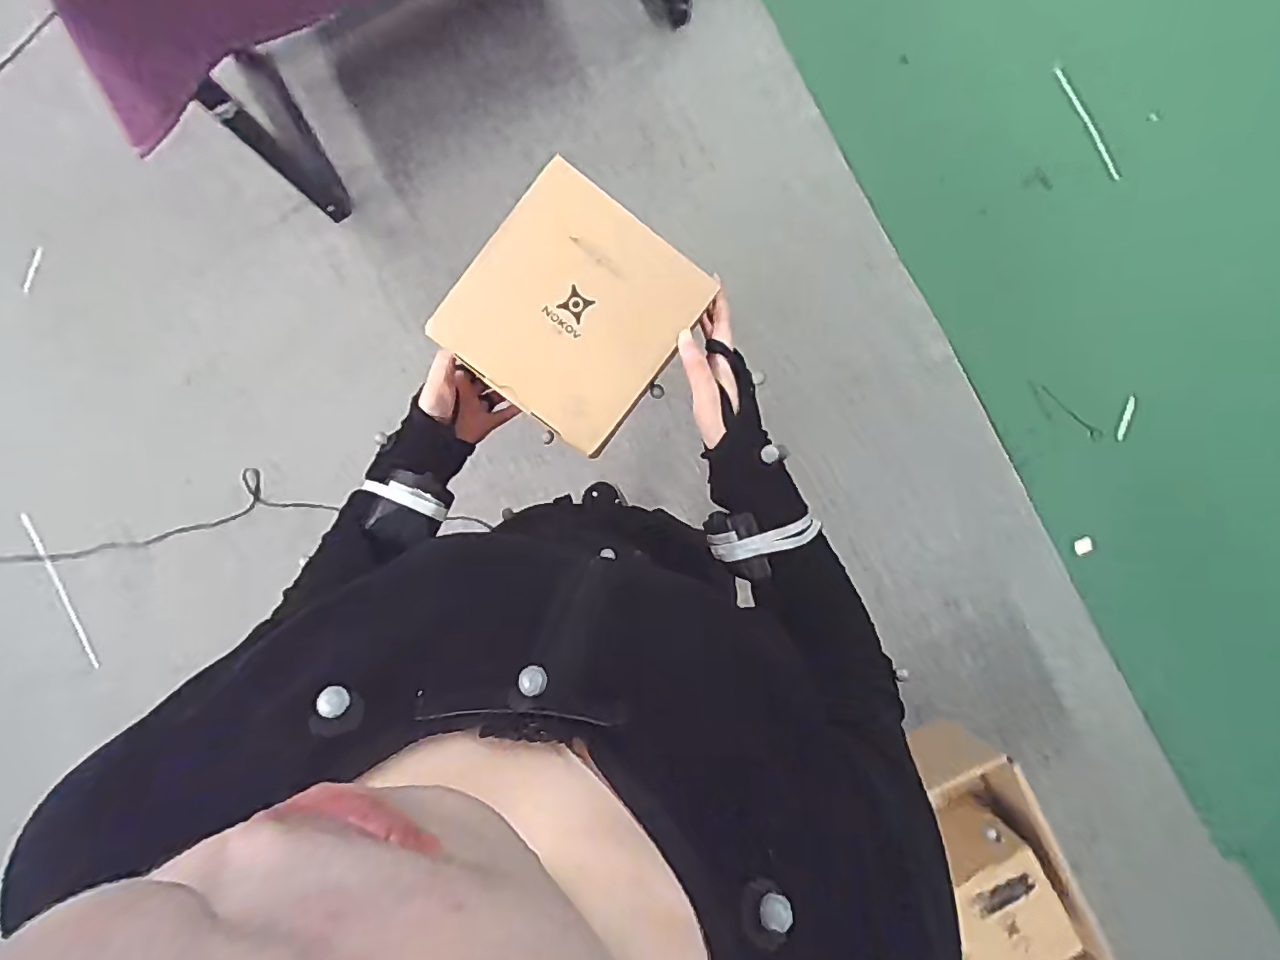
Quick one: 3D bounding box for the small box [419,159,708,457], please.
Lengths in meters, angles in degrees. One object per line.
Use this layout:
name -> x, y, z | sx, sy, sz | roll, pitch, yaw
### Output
small box -> -0.062, -0.137, 0.503 | 0.168, 0.176, 0.179 | 37, 90, -4
